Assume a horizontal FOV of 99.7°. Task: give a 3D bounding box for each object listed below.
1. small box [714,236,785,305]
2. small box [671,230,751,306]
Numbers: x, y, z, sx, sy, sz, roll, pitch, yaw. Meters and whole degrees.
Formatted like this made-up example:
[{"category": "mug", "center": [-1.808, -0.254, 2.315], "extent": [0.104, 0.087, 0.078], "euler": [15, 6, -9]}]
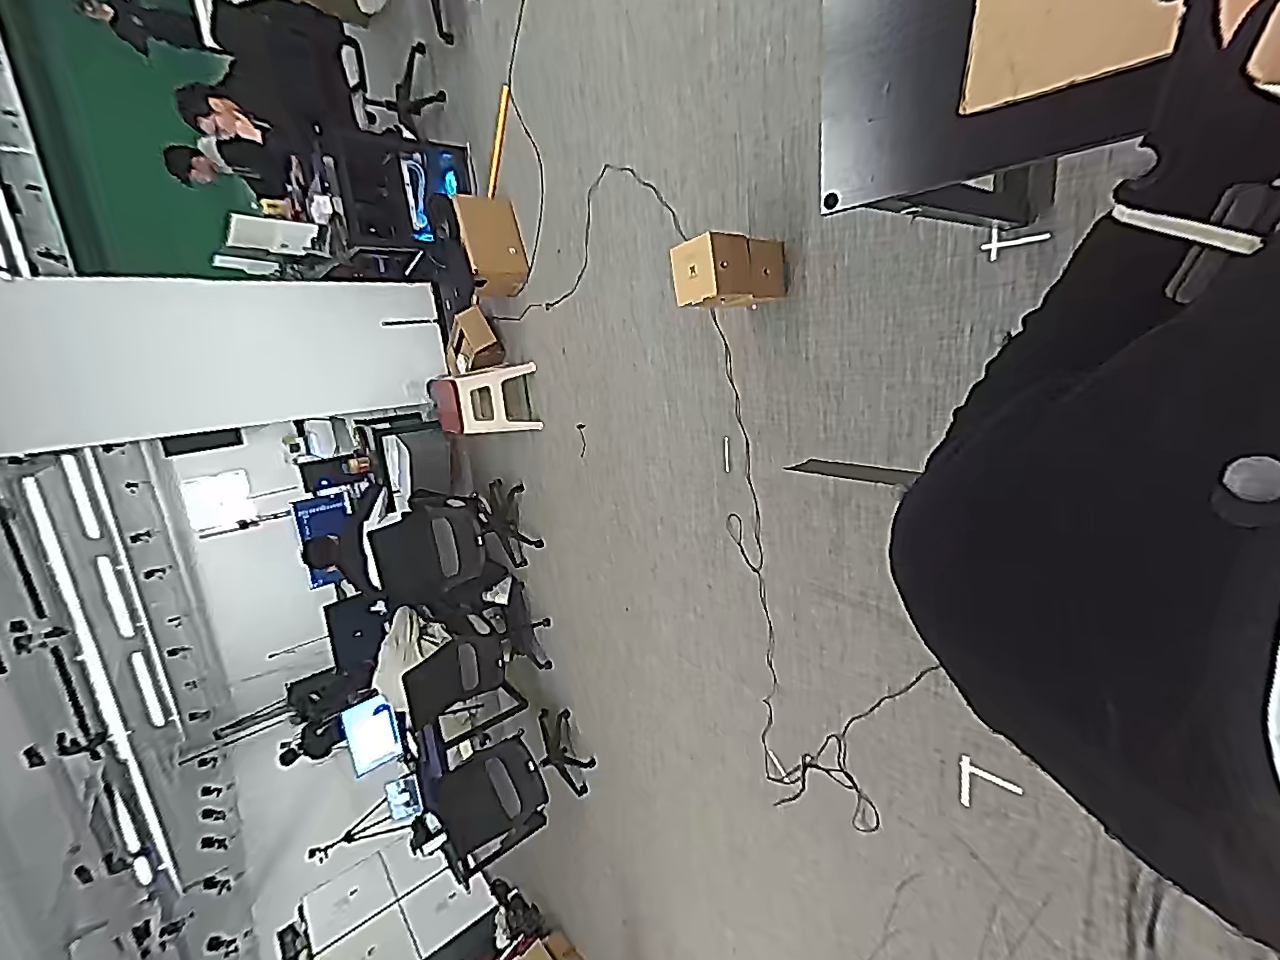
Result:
[{"category": "small box", "center": [0.344, -0.660, 1.721], "extent": [0.168, 0.176, 0.179], "euler": [7, 108, 51]}, {"category": "small box", "center": [0.218, -0.631, 1.623], "extent": [0.168, 0.176, 0.179], "euler": [2, 103, 51]}]
